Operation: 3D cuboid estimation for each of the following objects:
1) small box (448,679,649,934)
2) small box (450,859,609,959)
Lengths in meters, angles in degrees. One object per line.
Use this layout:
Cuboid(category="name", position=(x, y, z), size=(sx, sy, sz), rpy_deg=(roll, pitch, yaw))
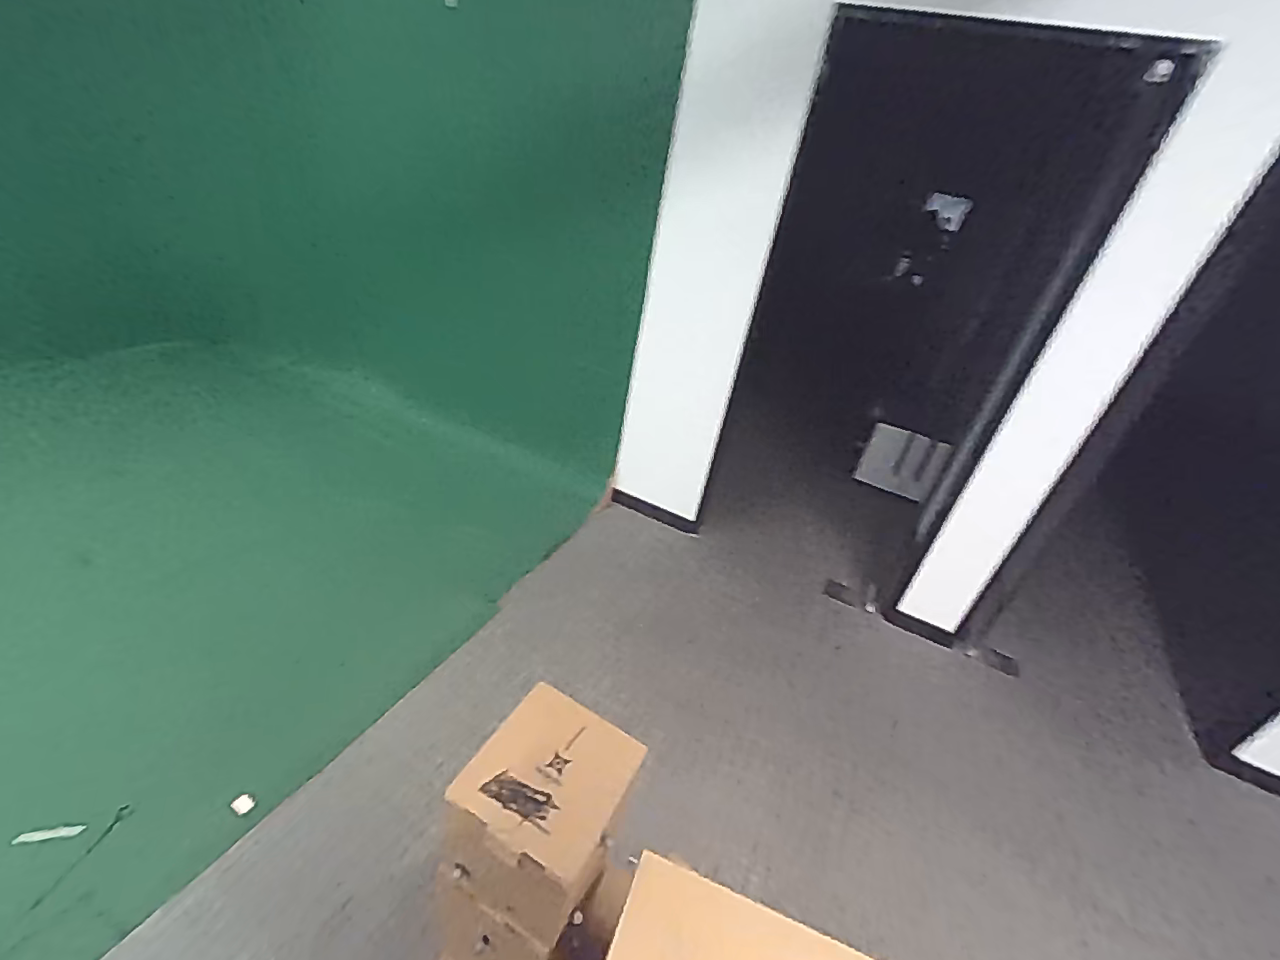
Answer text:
Cuboid(category="small box", position=(-0.110, 0.393, 0.661), size=(0.168, 0.176, 0.179), rpy_deg=(25, 33, 17))
Cuboid(category="small box", position=(-0.170, 0.664, 0.838), size=(0.168, 0.176, 0.179), rpy_deg=(26, 34, 19))
